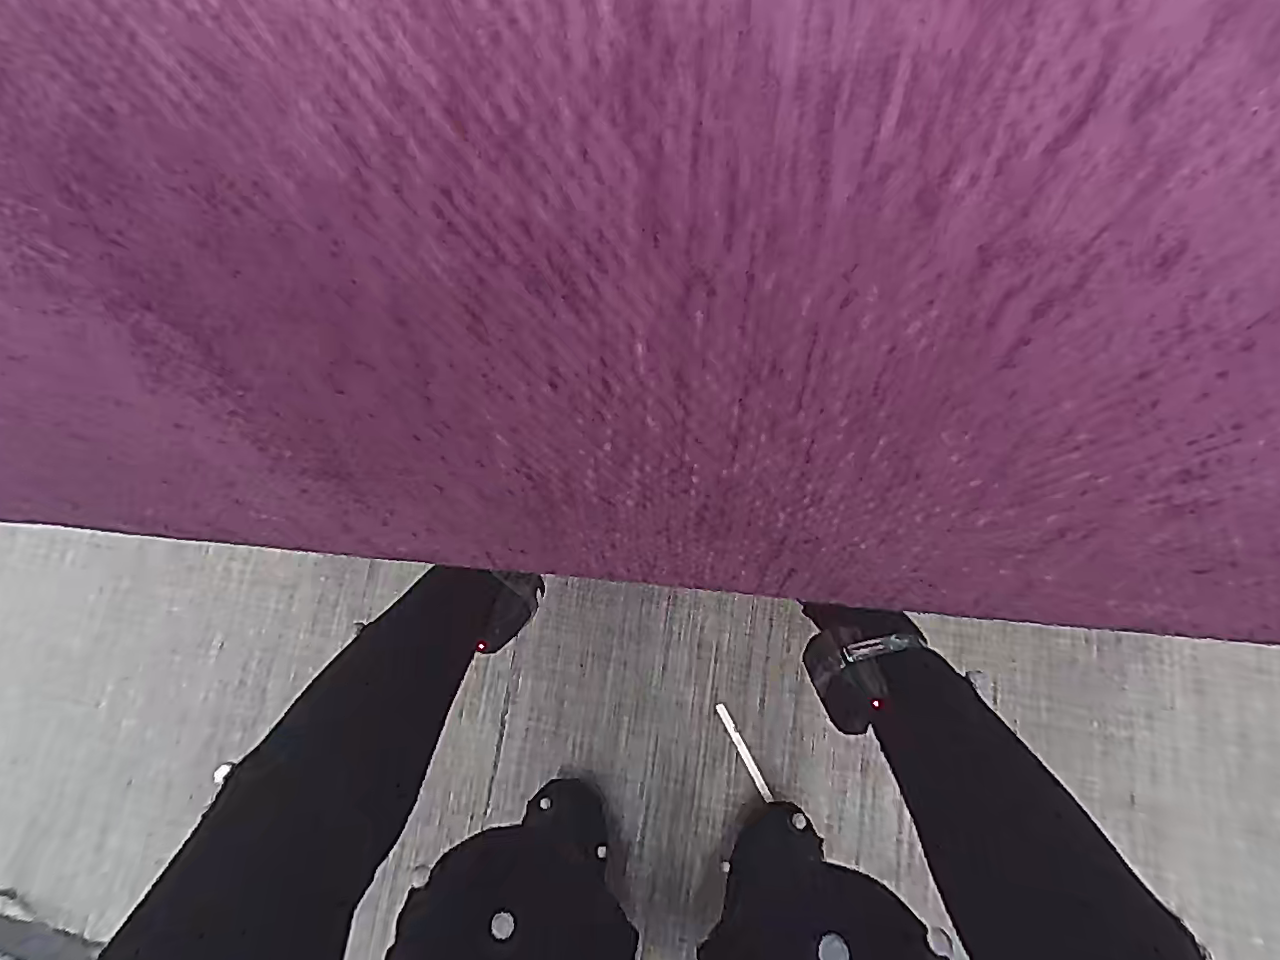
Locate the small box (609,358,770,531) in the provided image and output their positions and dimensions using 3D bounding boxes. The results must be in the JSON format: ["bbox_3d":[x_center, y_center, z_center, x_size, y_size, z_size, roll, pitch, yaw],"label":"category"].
[{"bbox_3d":[0.065,-0.035,0.697,0.168,0.176,0.179,8,78,6],"label":"small box"}]

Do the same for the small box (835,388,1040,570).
[{"bbox_3d":[0.349,0.009,0.664,0.168,0.176,0.179,10,79,7],"label":"small box"}]
